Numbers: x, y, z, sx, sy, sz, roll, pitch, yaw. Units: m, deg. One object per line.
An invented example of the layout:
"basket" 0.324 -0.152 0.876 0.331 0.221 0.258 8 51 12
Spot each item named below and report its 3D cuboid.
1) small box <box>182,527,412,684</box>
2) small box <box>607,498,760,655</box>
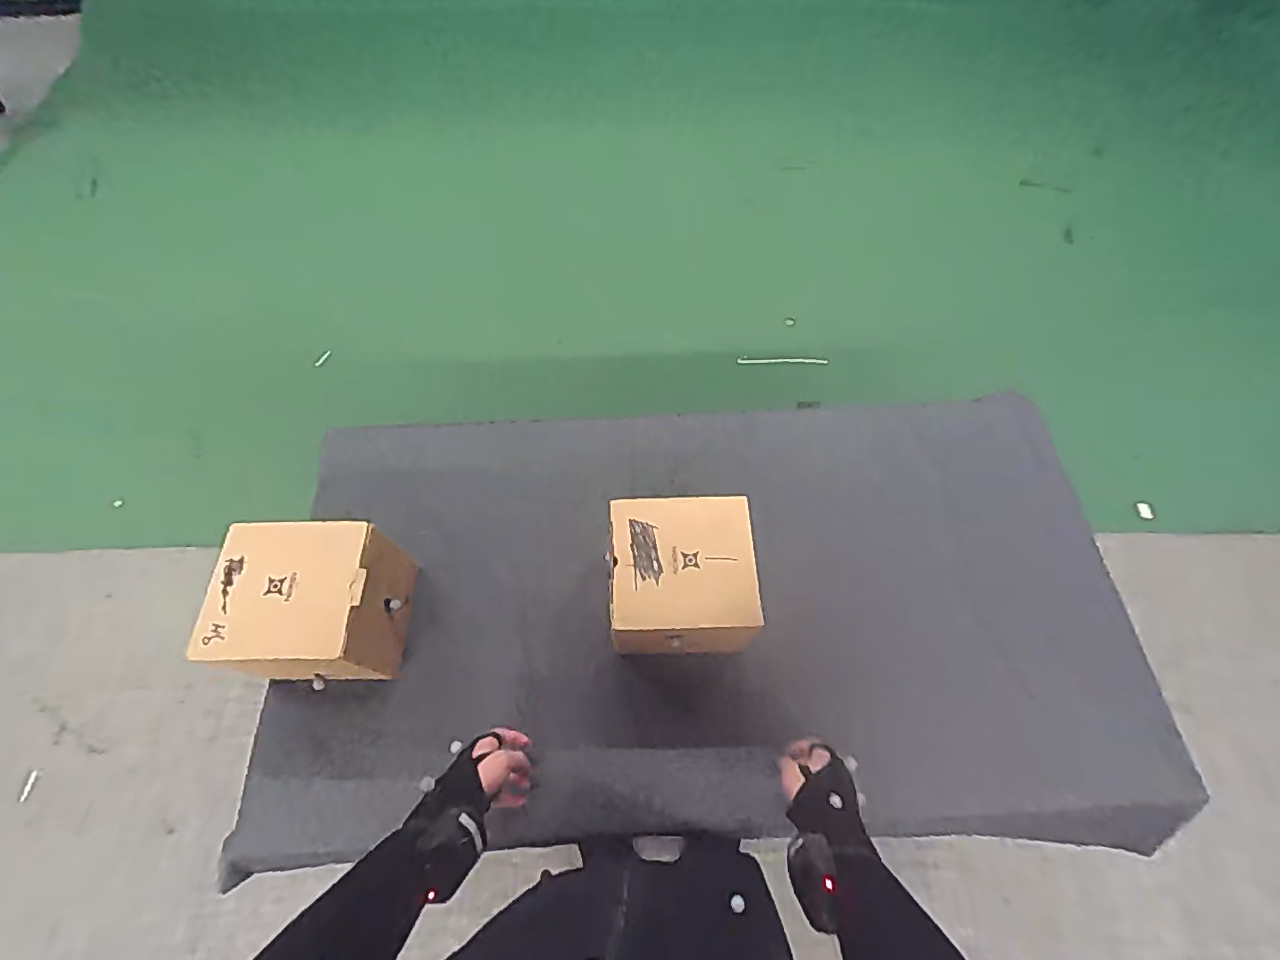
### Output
"small box" -0.418 0.167 0.700 0.179 0.176 0.168 0 63 -1
"small box" 0.048 0.134 0.715 0.179 0.176 0.168 -1 63 -2
